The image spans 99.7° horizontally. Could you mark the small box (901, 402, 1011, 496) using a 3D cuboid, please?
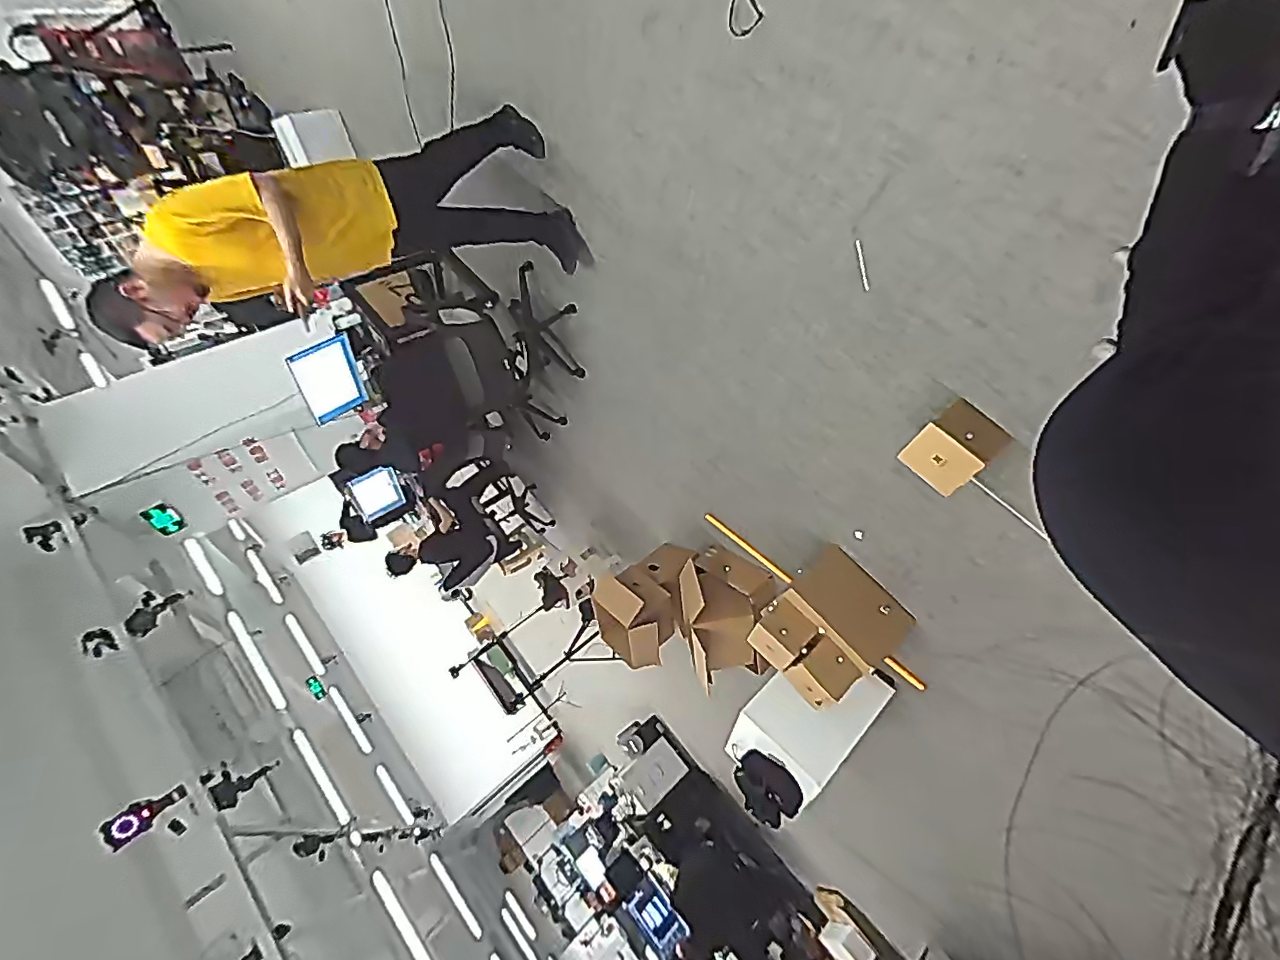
[{"bbox_3d":[0.883,-0.095,1.514,0.179,0.176,0.168,45,150,18],"label":"small box"}]
